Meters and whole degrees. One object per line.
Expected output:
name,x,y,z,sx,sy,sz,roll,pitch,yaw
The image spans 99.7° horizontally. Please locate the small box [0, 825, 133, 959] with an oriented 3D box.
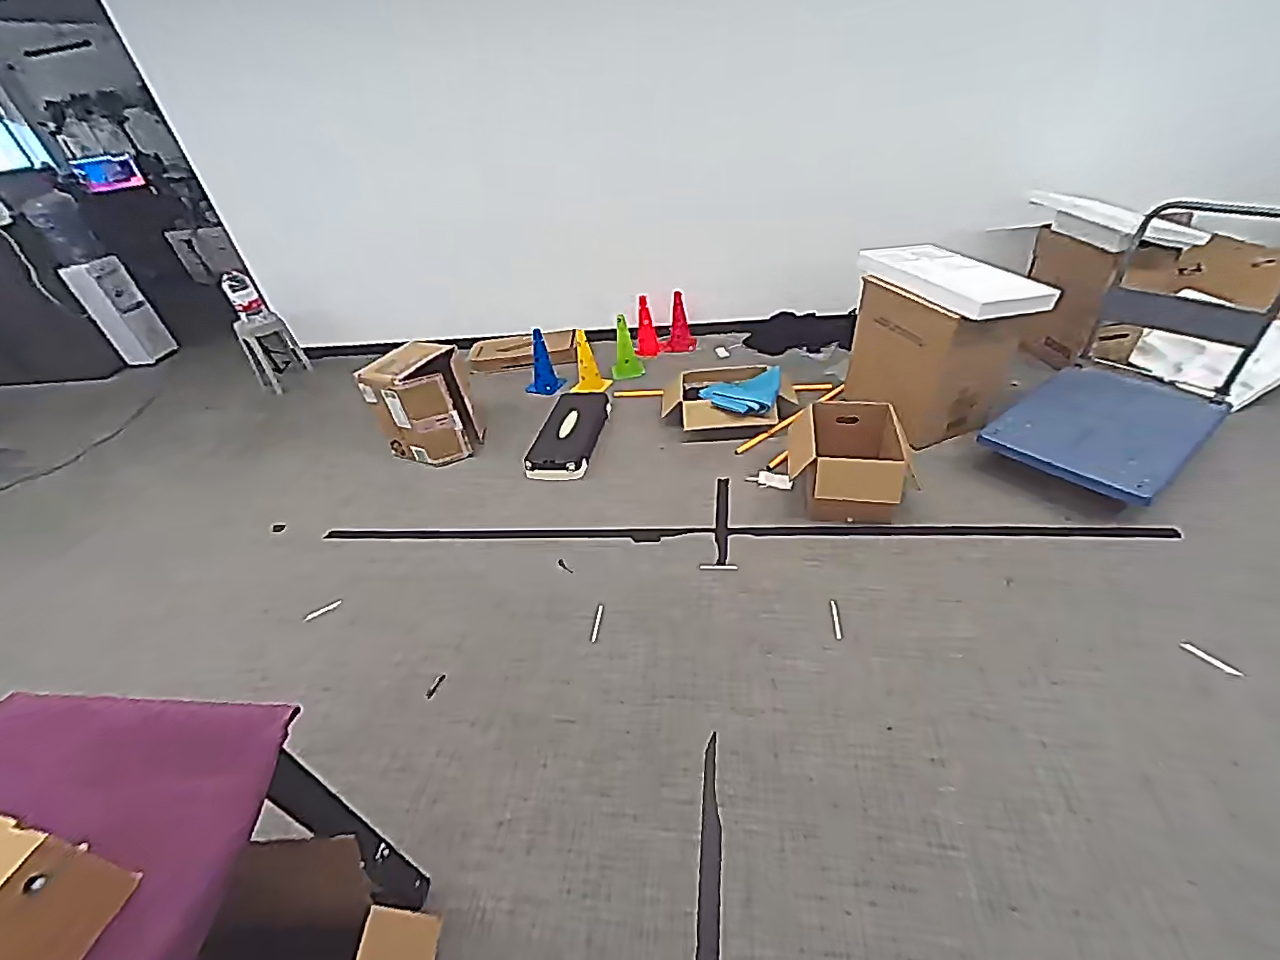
small box,-0.771,0.527,0.628,0.168,0.176,0.179,2,38,13
